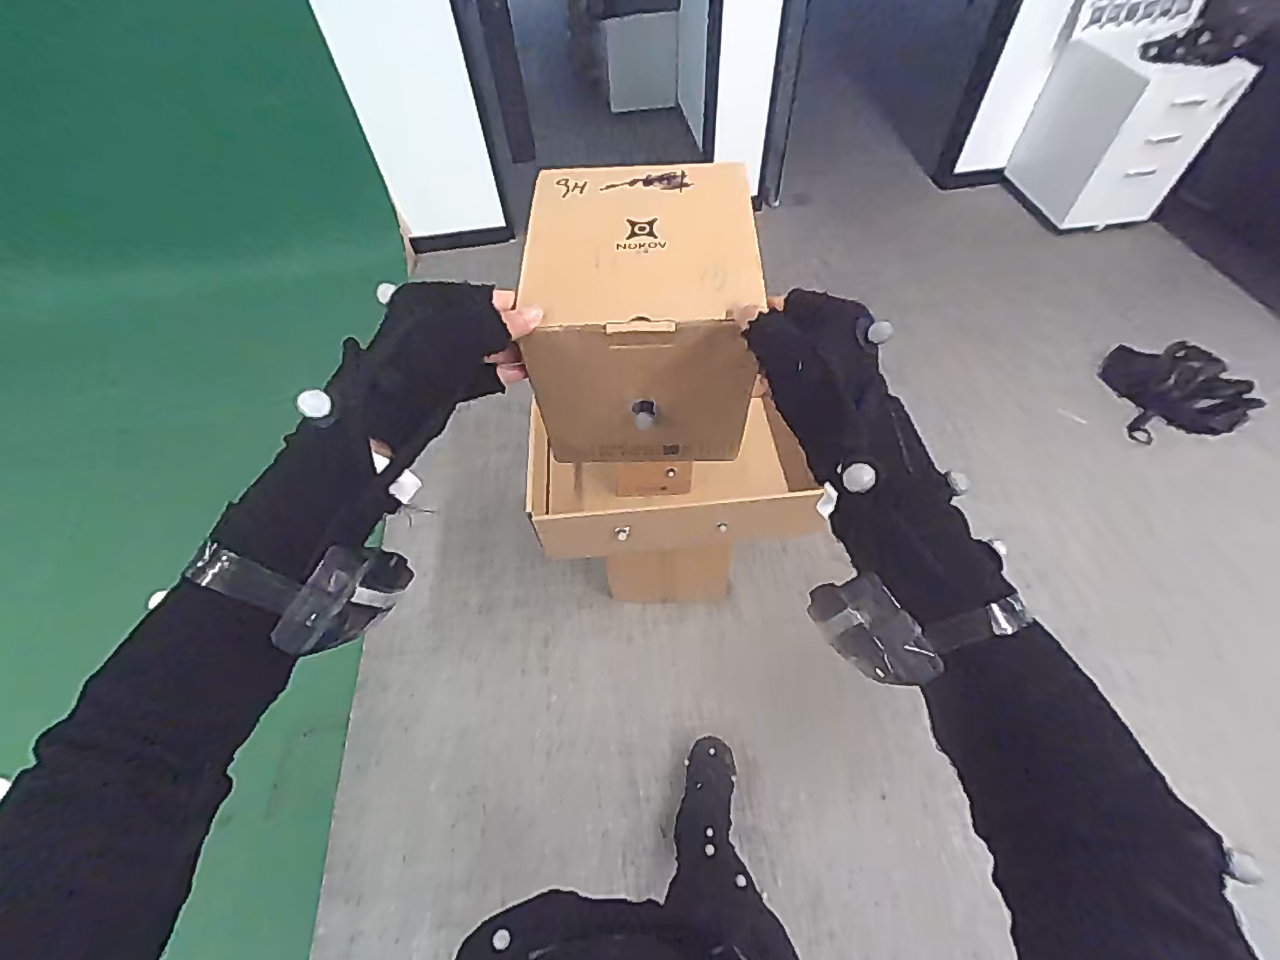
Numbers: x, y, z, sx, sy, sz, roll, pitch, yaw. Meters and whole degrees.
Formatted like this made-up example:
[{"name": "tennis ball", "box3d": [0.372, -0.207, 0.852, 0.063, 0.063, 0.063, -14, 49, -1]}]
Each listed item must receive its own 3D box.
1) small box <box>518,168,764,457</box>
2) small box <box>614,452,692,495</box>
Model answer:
[{"name": "small box", "box3d": [0.006, -0.130, 0.460, 0.168, 0.176, 0.179, 0, 61, 2]}, {"name": "small box", "box3d": [0.026, -0.078, 1.202, 0.168, 0.176, 0.179, -2, 52, -2]}]
